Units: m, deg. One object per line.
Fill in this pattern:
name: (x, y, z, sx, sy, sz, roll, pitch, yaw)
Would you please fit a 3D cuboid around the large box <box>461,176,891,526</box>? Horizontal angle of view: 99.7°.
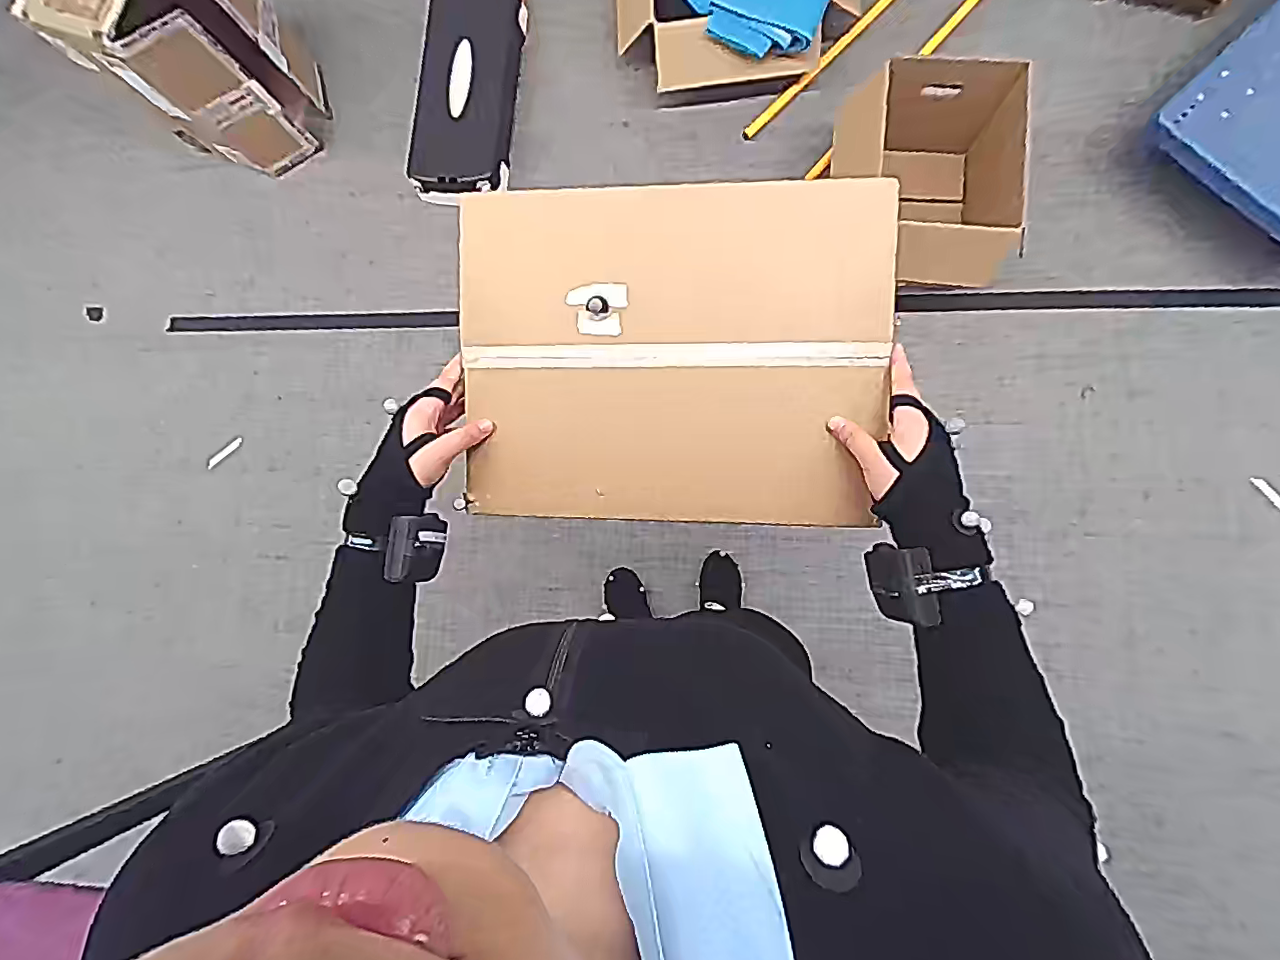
large box: (0.046, -0.124, 0.654, 0.408, 0.320, 0.320, 1, 94, 7)
